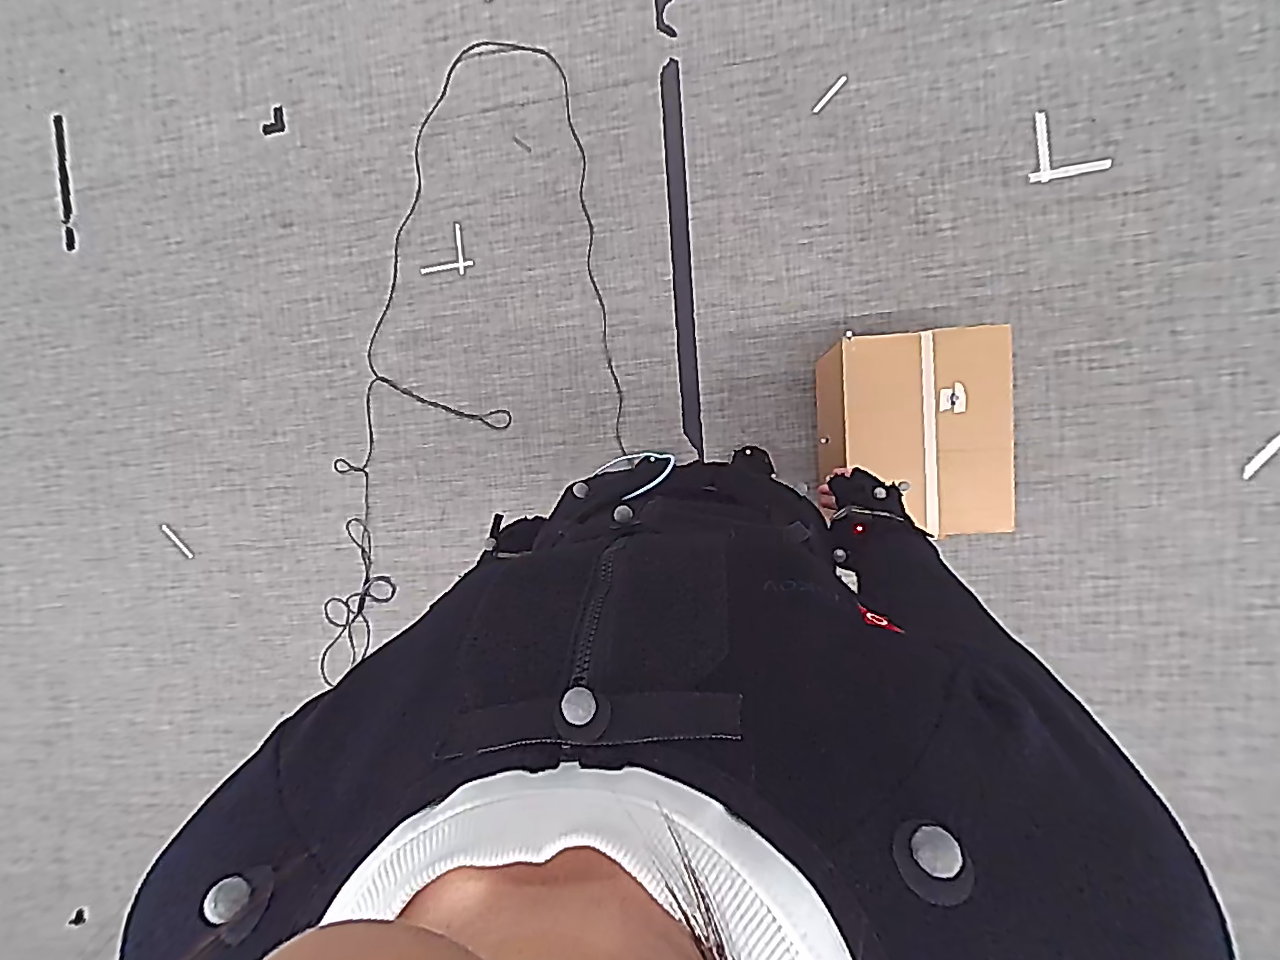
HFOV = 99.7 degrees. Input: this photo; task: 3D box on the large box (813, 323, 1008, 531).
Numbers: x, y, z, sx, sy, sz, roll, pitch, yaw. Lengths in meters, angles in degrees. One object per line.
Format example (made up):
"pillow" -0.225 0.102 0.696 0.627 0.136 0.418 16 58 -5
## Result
"large box" 0.586 -0.107 1.232 0.320 0.320 0.408 -3 92 7
